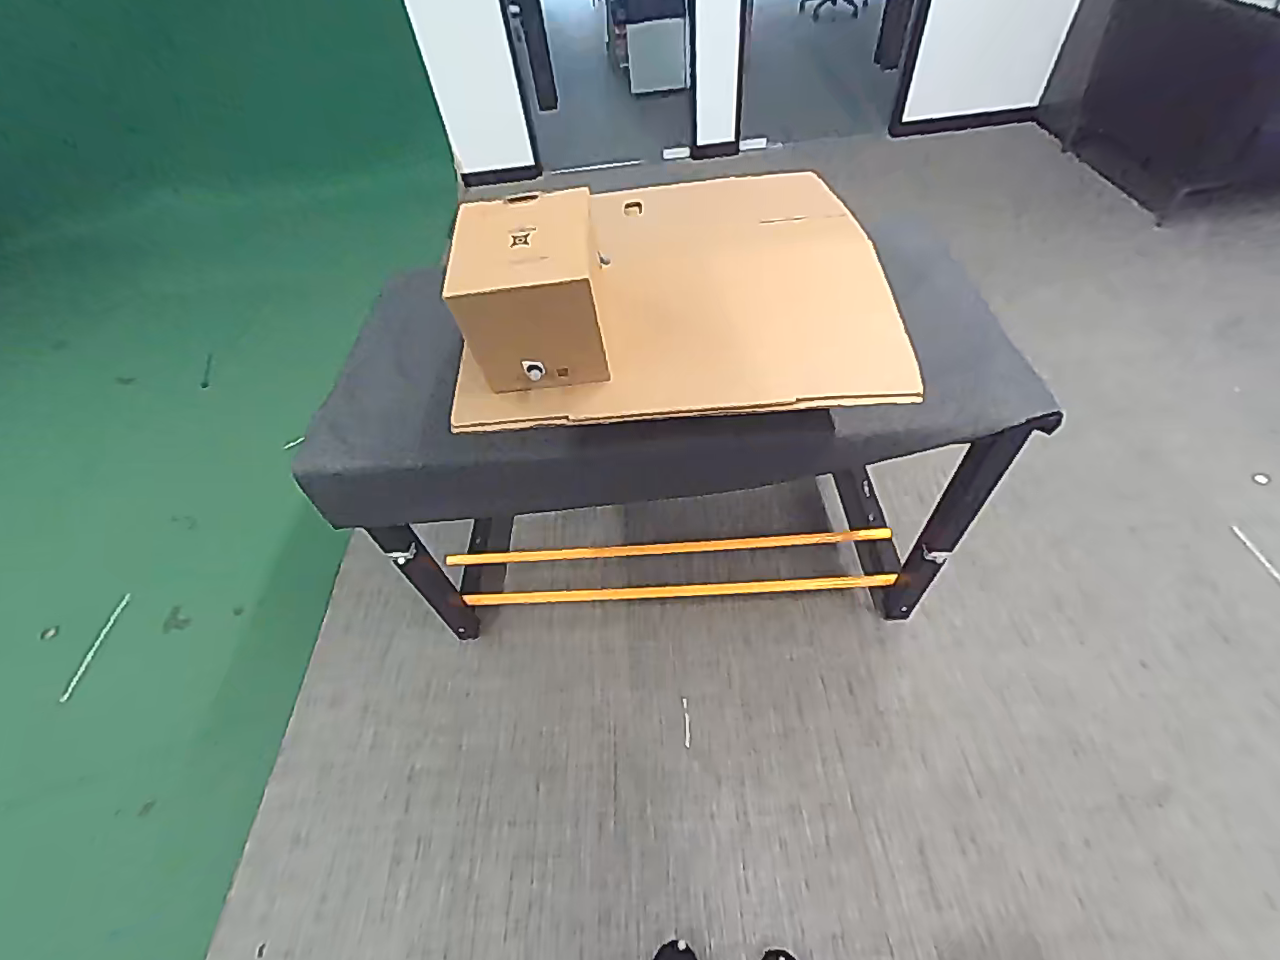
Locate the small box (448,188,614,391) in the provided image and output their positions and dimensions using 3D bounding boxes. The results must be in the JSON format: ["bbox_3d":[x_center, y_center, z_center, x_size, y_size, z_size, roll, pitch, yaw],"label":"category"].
[{"bbox_3d":[-0.128,-0.241,0.702,0.168,0.176,0.179,-7,59,3],"label":"small box"}]
